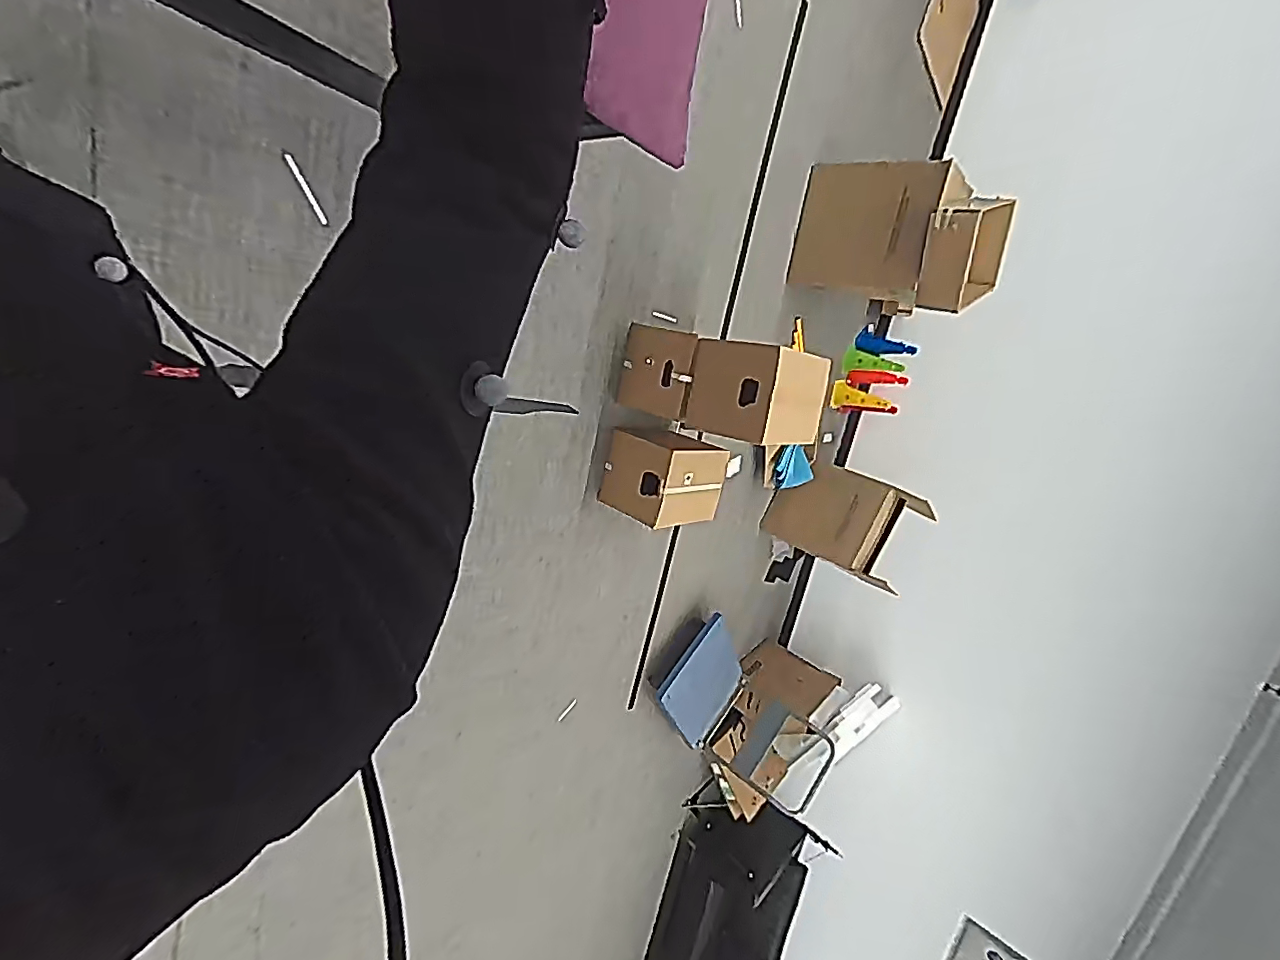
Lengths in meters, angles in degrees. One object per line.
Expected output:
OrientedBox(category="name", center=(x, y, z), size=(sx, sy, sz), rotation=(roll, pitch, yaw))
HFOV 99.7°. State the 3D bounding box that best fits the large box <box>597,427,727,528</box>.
OrientedBox(category="large box", center=(0.091, -0.027, 2.204), size=(0.408, 0.320, 0.320), rotation=(-4, 111, -49))
